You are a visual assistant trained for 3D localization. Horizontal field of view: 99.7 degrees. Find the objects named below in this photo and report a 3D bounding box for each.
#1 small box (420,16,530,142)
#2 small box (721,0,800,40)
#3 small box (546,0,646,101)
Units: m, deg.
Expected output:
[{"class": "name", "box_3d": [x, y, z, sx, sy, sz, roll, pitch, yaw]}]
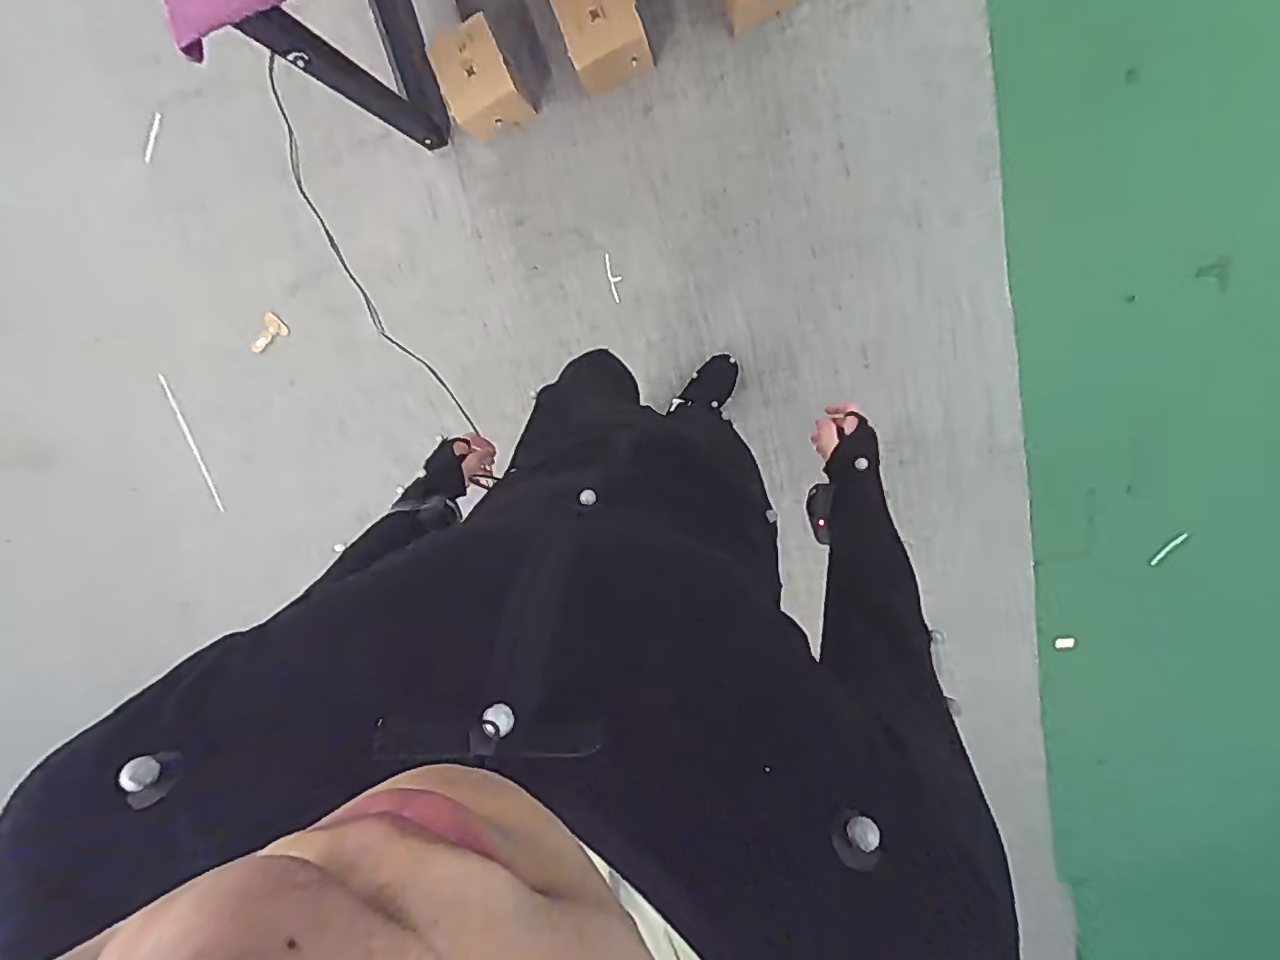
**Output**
[{"class": "small box", "box_3d": [-0.396, -0.969, 1.332, 0.168, 0.176, 0.179, -21, 101, 12]}, {"class": "small box", "box_3d": [0.260, -1.144, 1.201, 0.168, 0.176, 0.179, -19, 101, 11]}, {"class": "small box", "box_3d": [-0.093, -1.044, 1.274, 0.179, 0.176, 0.168, -19, 101, 13]}]
